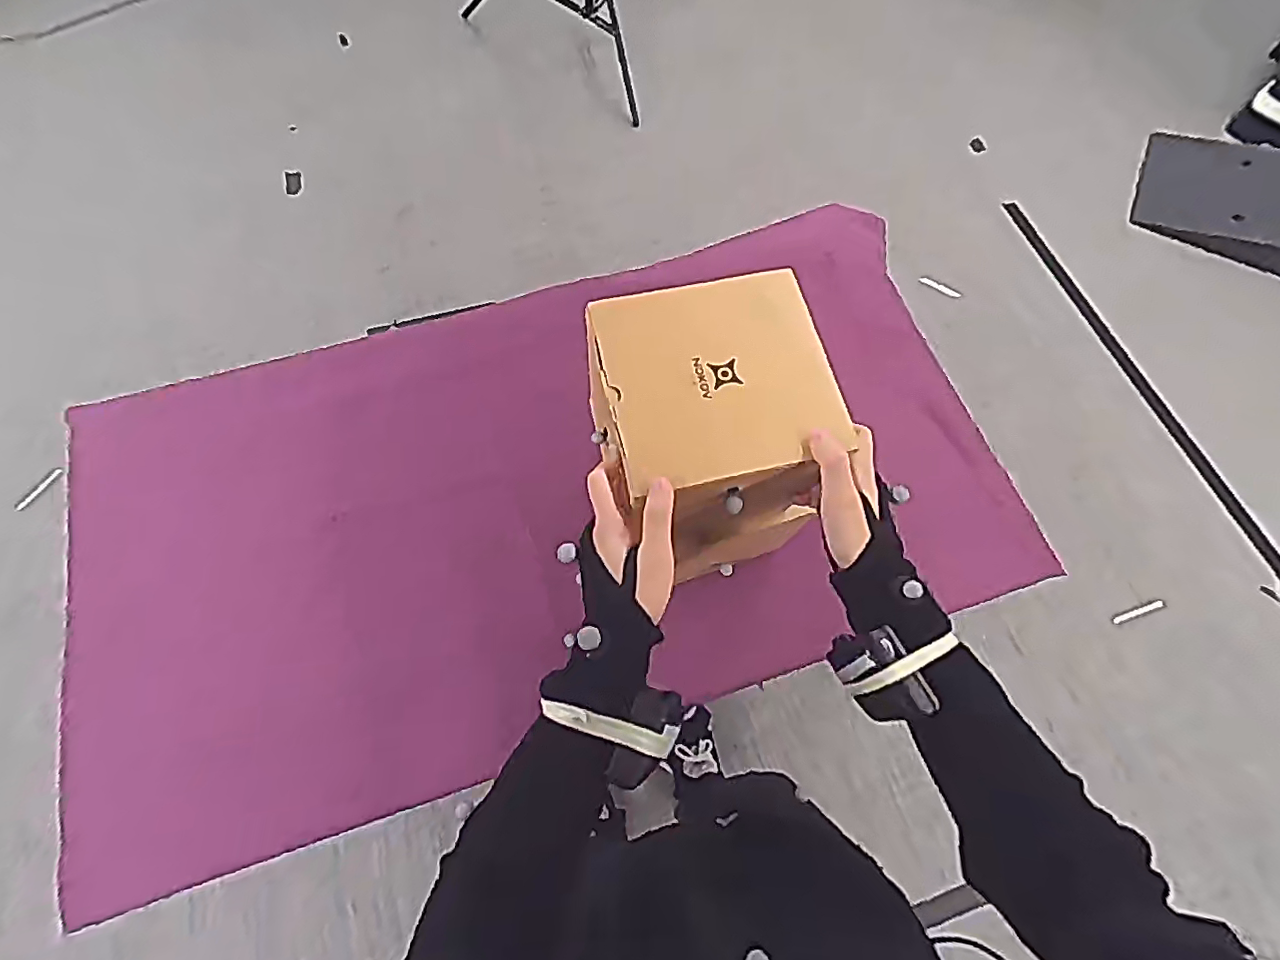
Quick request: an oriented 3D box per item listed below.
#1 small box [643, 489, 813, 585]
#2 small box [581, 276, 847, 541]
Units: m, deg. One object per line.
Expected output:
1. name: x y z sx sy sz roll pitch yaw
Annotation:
1. small box: 0.075 0.010 0.653 0.168 0.176 0.179 -17 71 -7
2. small box: 0.049 -0.052 0.488 0.179 0.176 0.168 -12 74 -6
